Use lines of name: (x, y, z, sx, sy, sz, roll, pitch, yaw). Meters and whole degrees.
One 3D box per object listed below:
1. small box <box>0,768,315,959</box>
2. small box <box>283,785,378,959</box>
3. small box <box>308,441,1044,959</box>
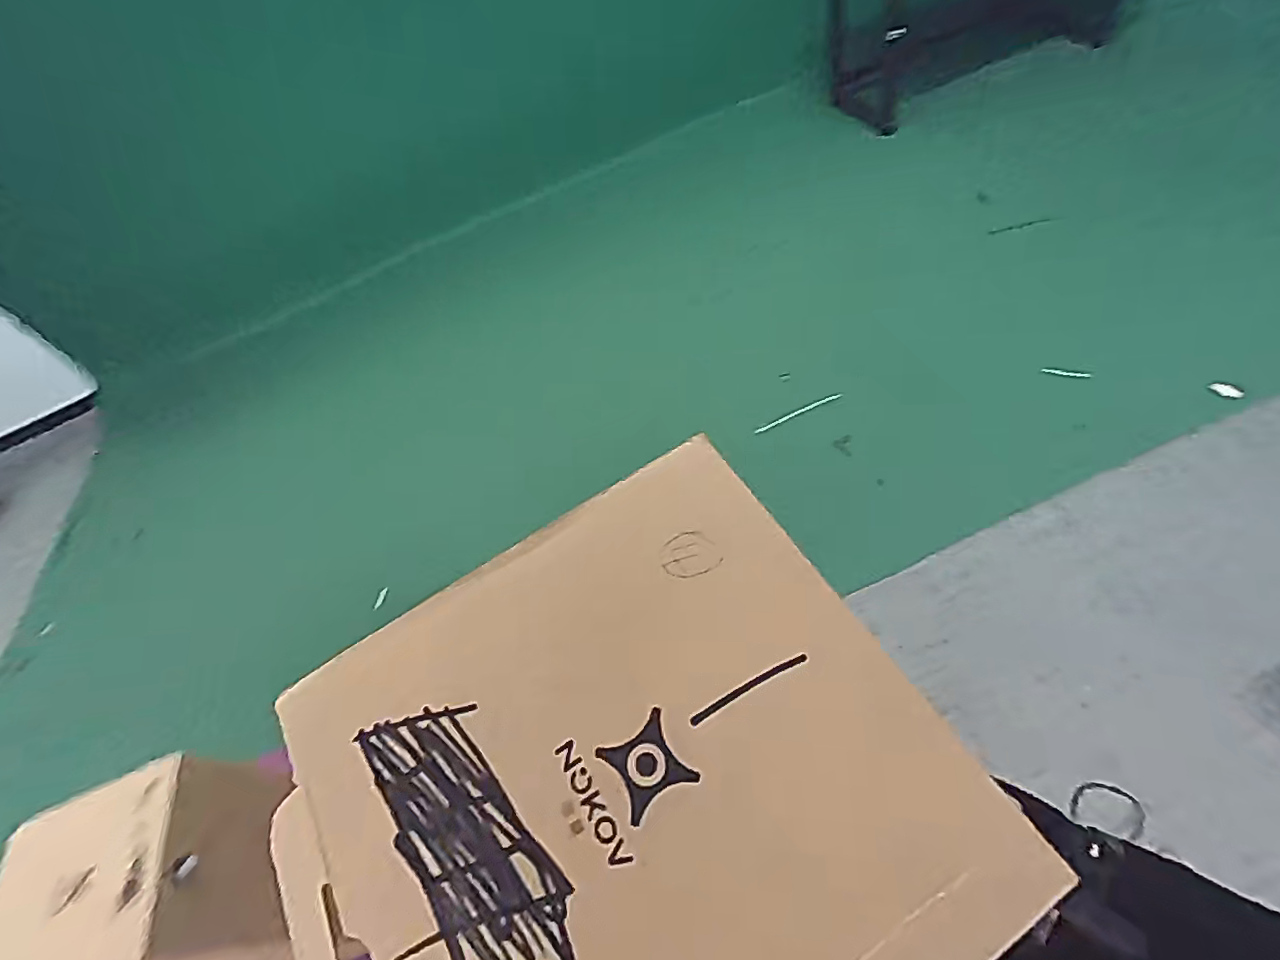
small box: (-0.470, 0.421, 0.546, 0.179, 0.176, 0.168, -26, 53, 0)
small box: (-0.422, 0.514, 0.673, 0.168, 0.176, 0.179, -26, 52, -1)
small box: (0.007, 0.122, 0.237, 0.179, 0.176, 0.168, -32, 64, -8)
